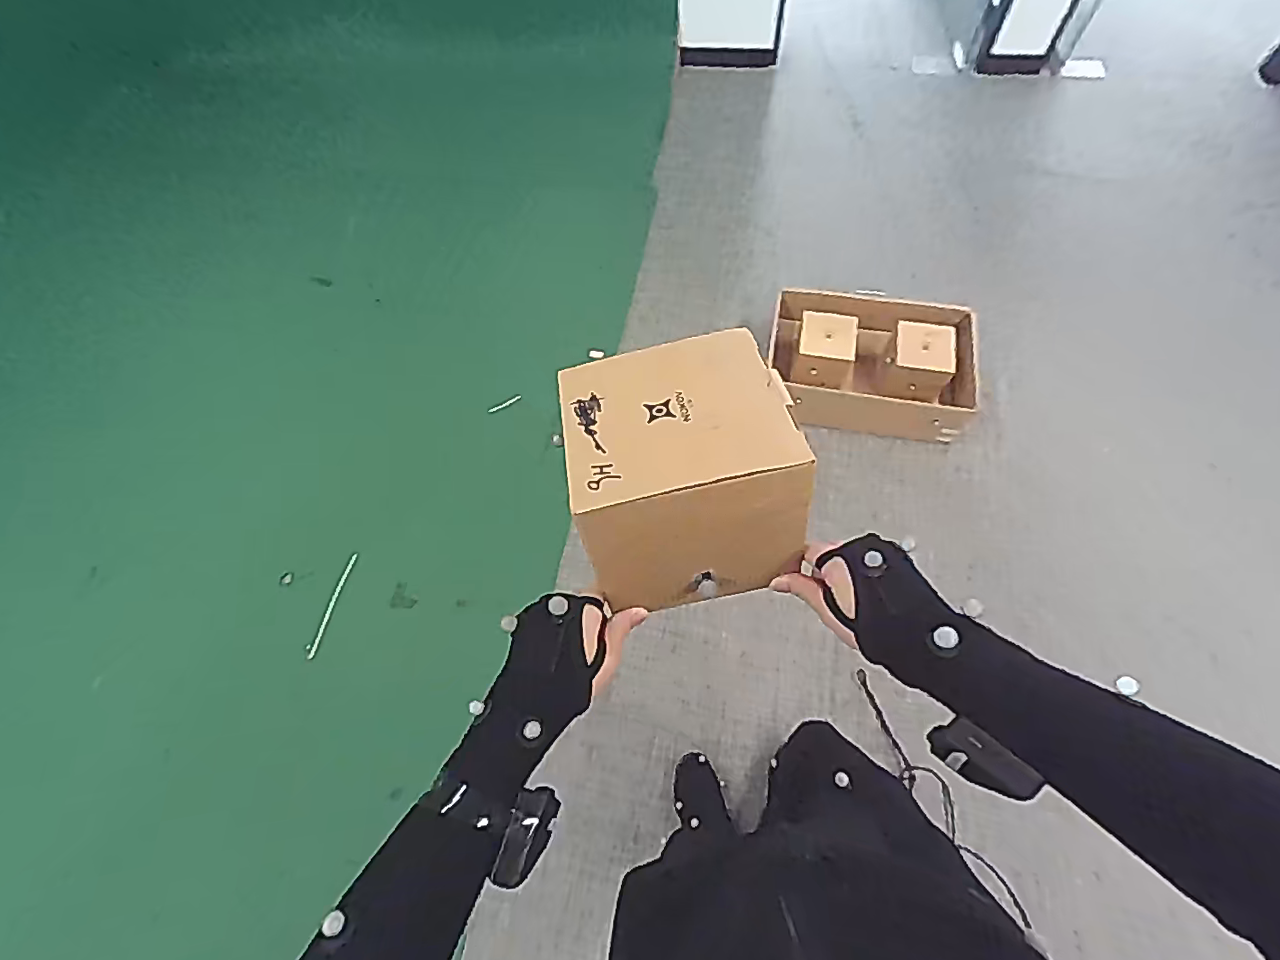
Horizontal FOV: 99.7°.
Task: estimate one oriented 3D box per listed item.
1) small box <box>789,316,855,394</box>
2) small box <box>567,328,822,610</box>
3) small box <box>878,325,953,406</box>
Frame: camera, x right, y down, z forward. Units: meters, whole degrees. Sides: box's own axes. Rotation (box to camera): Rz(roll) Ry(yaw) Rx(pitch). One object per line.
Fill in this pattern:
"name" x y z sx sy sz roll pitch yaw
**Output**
"small box" 0.584 -0.399 1.745 0.168 0.176 0.179 10 64 8
"small box" 0.040 -0.006 0.483 0.179 0.176 0.168 -11 48 0
"small box" 0.863 -0.355 1.702 0.168 0.176 0.179 11 65 9
